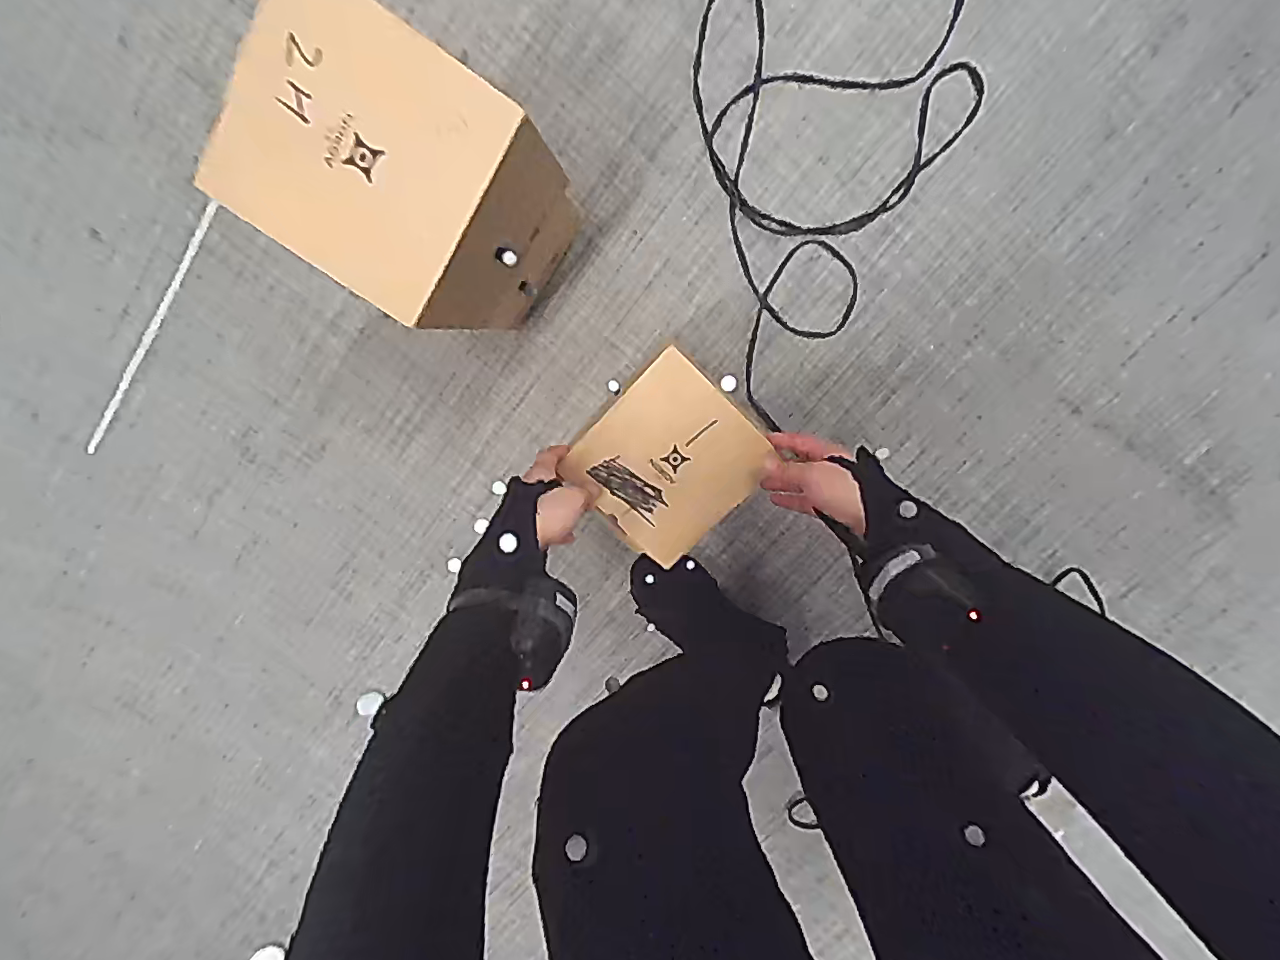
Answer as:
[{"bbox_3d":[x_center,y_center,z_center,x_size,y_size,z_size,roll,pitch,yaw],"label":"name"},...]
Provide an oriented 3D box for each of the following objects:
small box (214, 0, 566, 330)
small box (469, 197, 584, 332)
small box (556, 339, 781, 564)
[{"bbox_3d":[-0.182,-0.244,0.449,0.179,0.176,0.168,34,104,-5],"label":"small box"},{"bbox_3d":[-0.183,-0.287,0.609,0.179,0.176,0.168,36,104,-6],"label":"small box"},{"bbox_3d":[0.032,-0.043,0.627,0.168,0.176,0.179,42,104,-11],"label":"small box"}]
